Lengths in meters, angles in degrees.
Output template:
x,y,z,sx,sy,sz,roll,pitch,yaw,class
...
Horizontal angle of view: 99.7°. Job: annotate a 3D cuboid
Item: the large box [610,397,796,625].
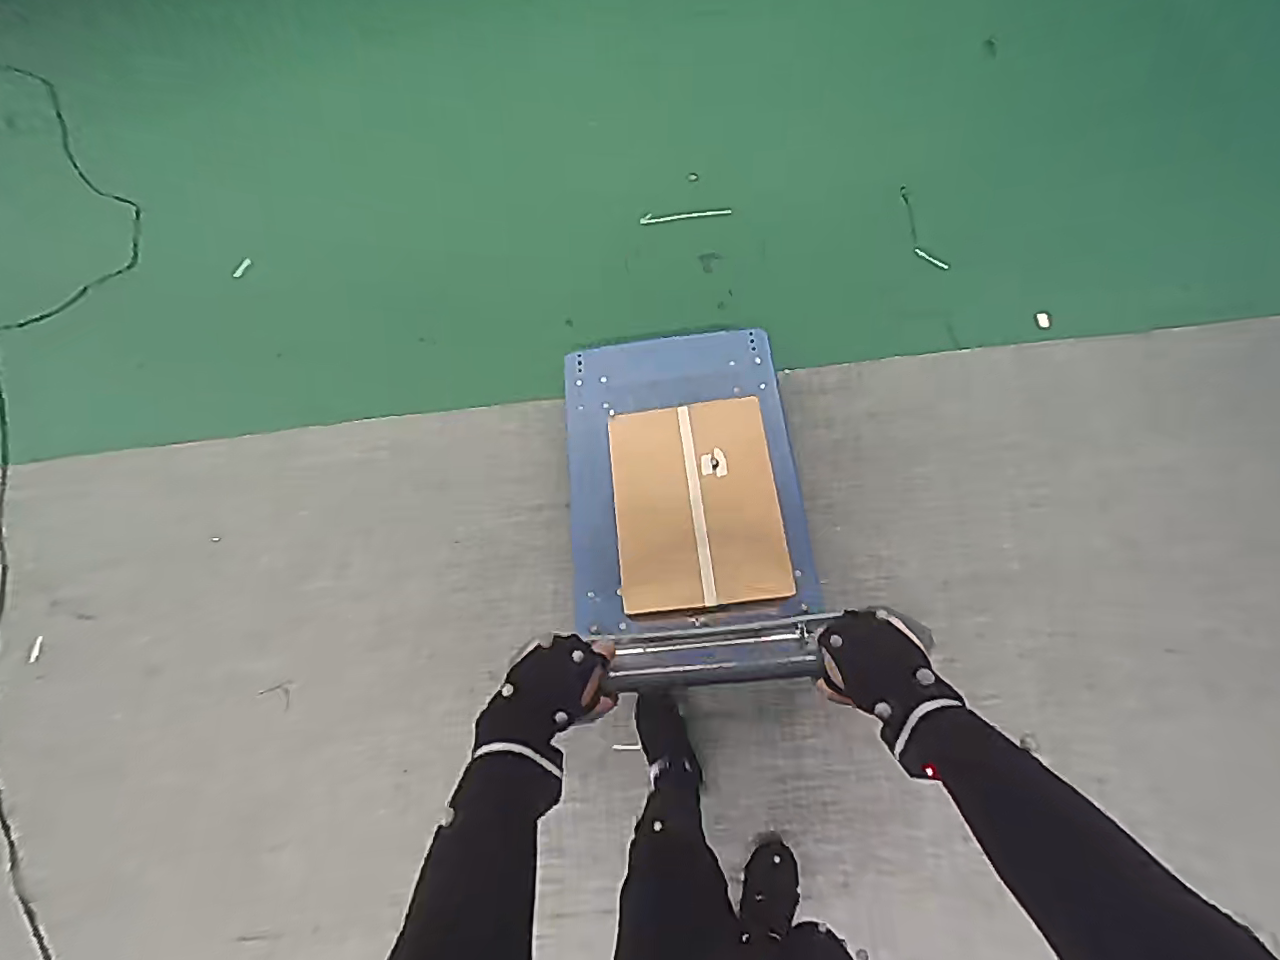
x,y,z,sx,sy,sz,roll,pitch,yaw,class
0.124,0.085,1.183,0.320,0.320,0.408,-7,70,3,large box
